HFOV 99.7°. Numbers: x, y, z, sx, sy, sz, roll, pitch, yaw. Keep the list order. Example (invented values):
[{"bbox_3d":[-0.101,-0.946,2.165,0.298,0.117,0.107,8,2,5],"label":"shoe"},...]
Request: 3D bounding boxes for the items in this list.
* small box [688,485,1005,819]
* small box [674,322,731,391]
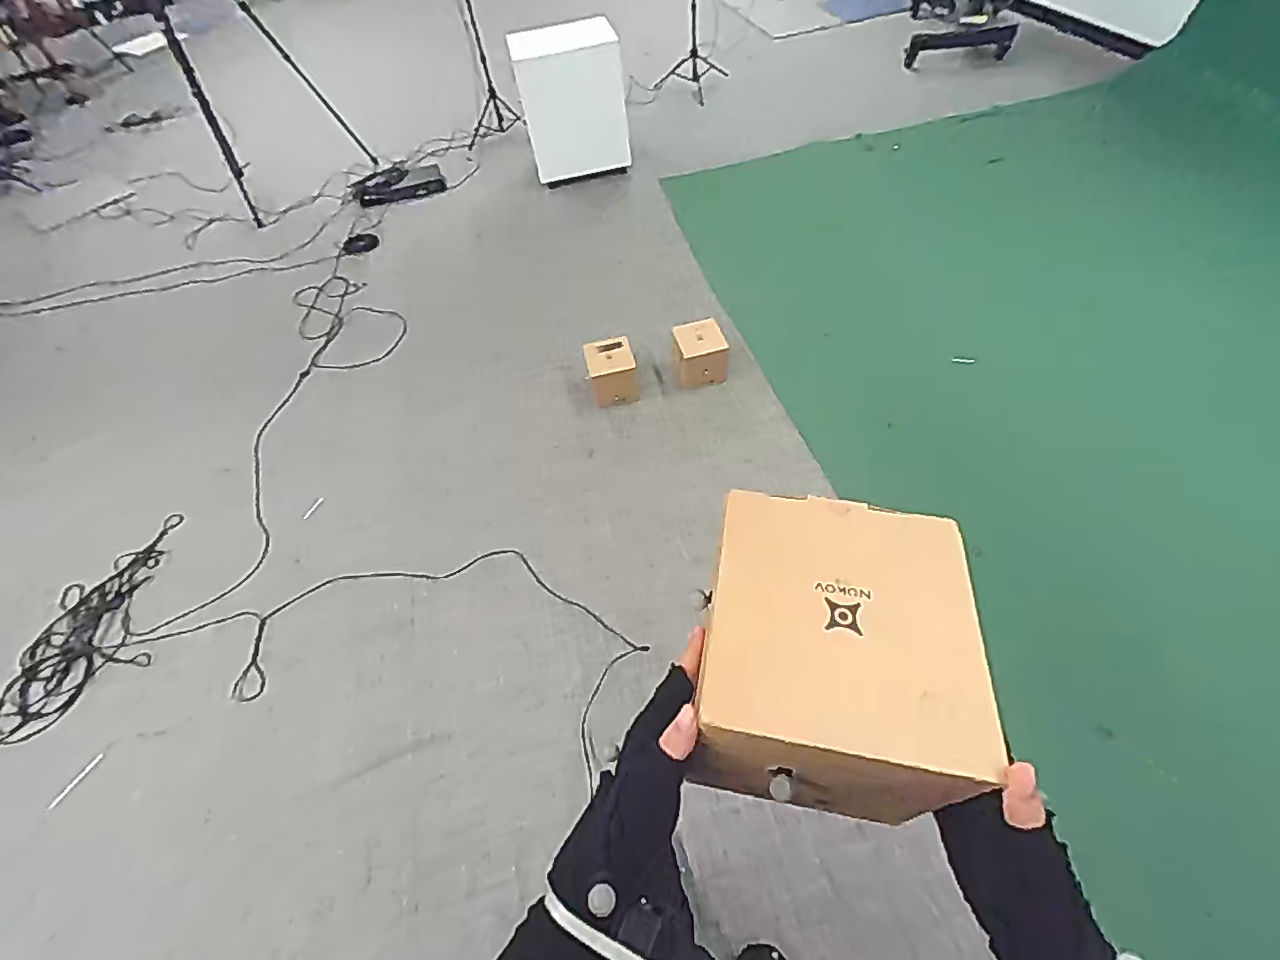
[{"bbox_3d":[0.128,0.130,0.403,0.168,0.176,0.179,7,50,8],"label":"small box"},{"bbox_3d":[0.231,-0.450,2.000,0.168,0.176,0.179,-14,54,-5],"label":"small box"}]
